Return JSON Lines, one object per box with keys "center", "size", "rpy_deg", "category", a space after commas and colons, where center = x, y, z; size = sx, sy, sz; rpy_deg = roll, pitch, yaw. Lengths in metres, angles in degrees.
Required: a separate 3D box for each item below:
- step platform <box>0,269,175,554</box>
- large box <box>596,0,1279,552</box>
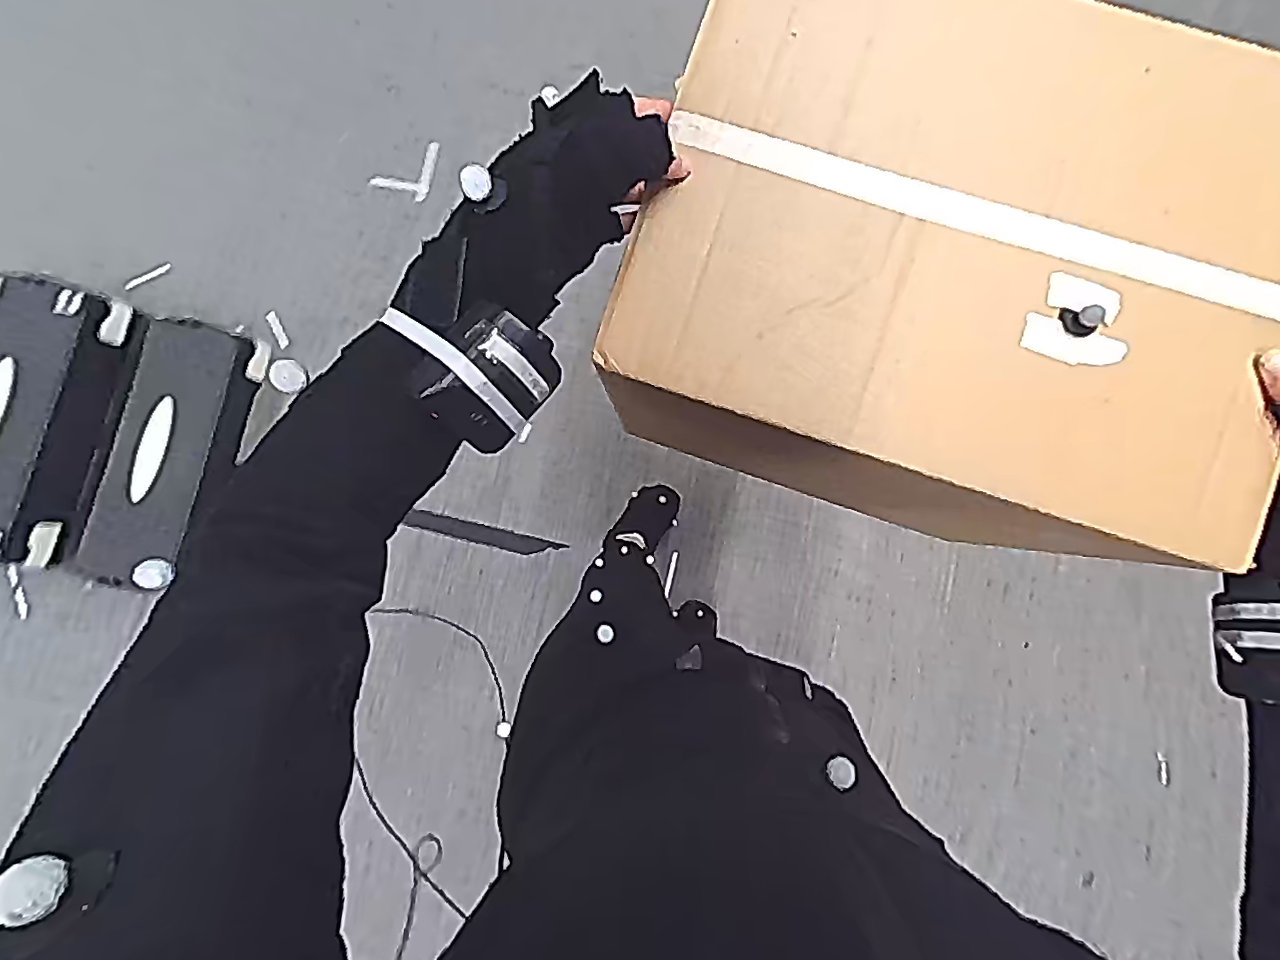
{"center": [-1.446, -0.165, 1.337], "size": [0.286, 0.204, 0.684], "rpy_deg": [10, 82, 2], "category": "step platform"}
{"center": [0.202, -0.145, 0.500], "size": [0.408, 0.320, 0.320], "rpy_deg": [17, 88, 2], "category": "large box"}
